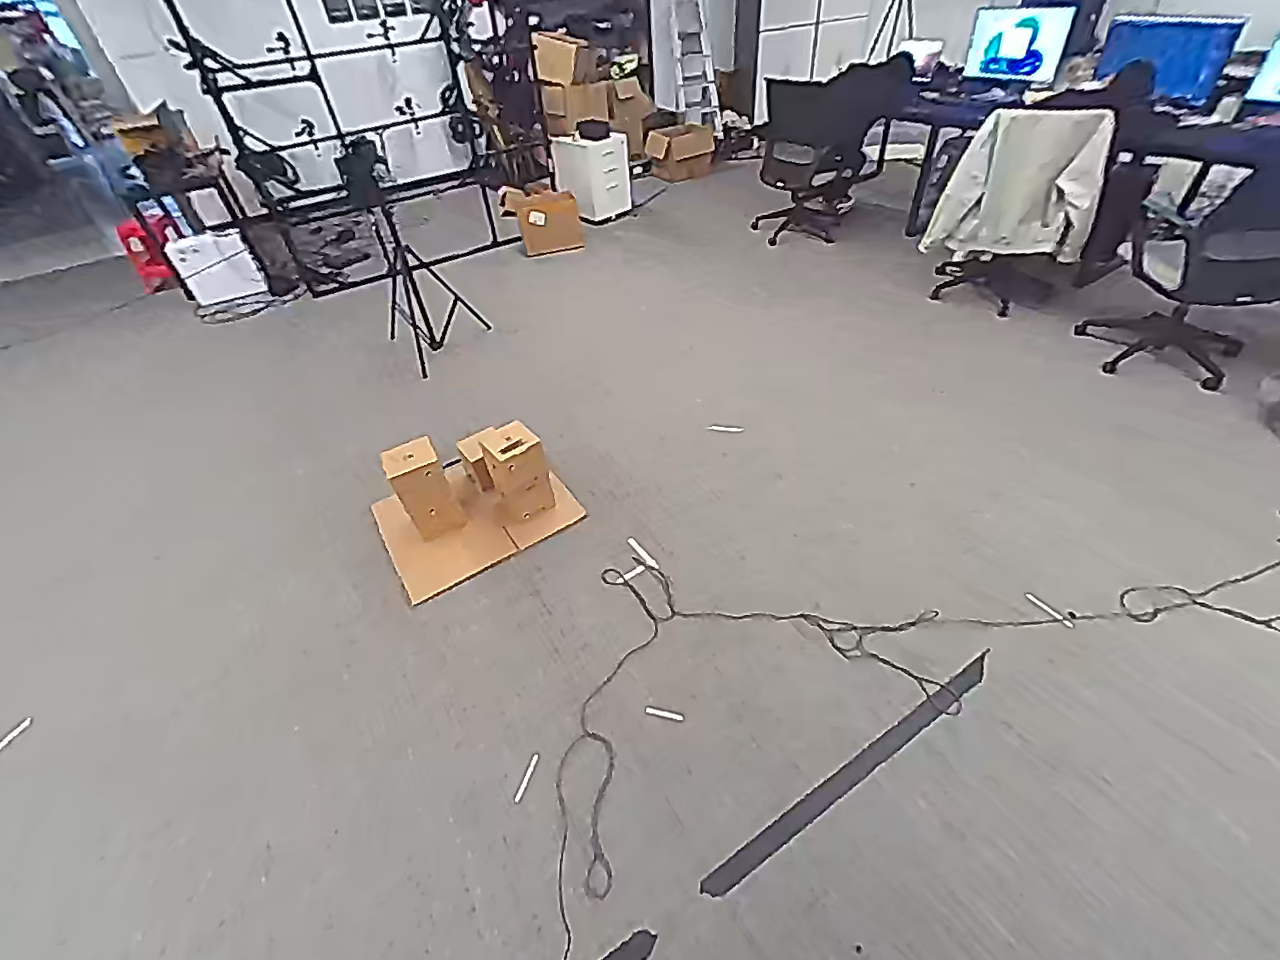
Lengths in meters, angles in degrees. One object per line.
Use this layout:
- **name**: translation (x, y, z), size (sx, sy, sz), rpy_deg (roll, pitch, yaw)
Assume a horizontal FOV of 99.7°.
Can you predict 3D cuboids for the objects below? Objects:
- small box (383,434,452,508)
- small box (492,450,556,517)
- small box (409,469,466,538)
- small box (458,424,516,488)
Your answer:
- **small box**: translation (-0.798, -0.032, 1.954), size (0.179, 0.176, 0.168), rpy_deg (-25, 46, -17)
- **small box**: translation (-0.447, 0.022, 2.100), size (0.168, 0.176, 0.179), rpy_deg (-30, 48, -24)
- **small box**: translation (-0.783, 0.087, 2.066), size (0.179, 0.176, 0.168), rpy_deg (-25, 47, -18)
- **small box**: translation (-0.624, -0.098, 2.250), size (0.179, 0.176, 0.168), rpy_deg (-31, 47, -24)
